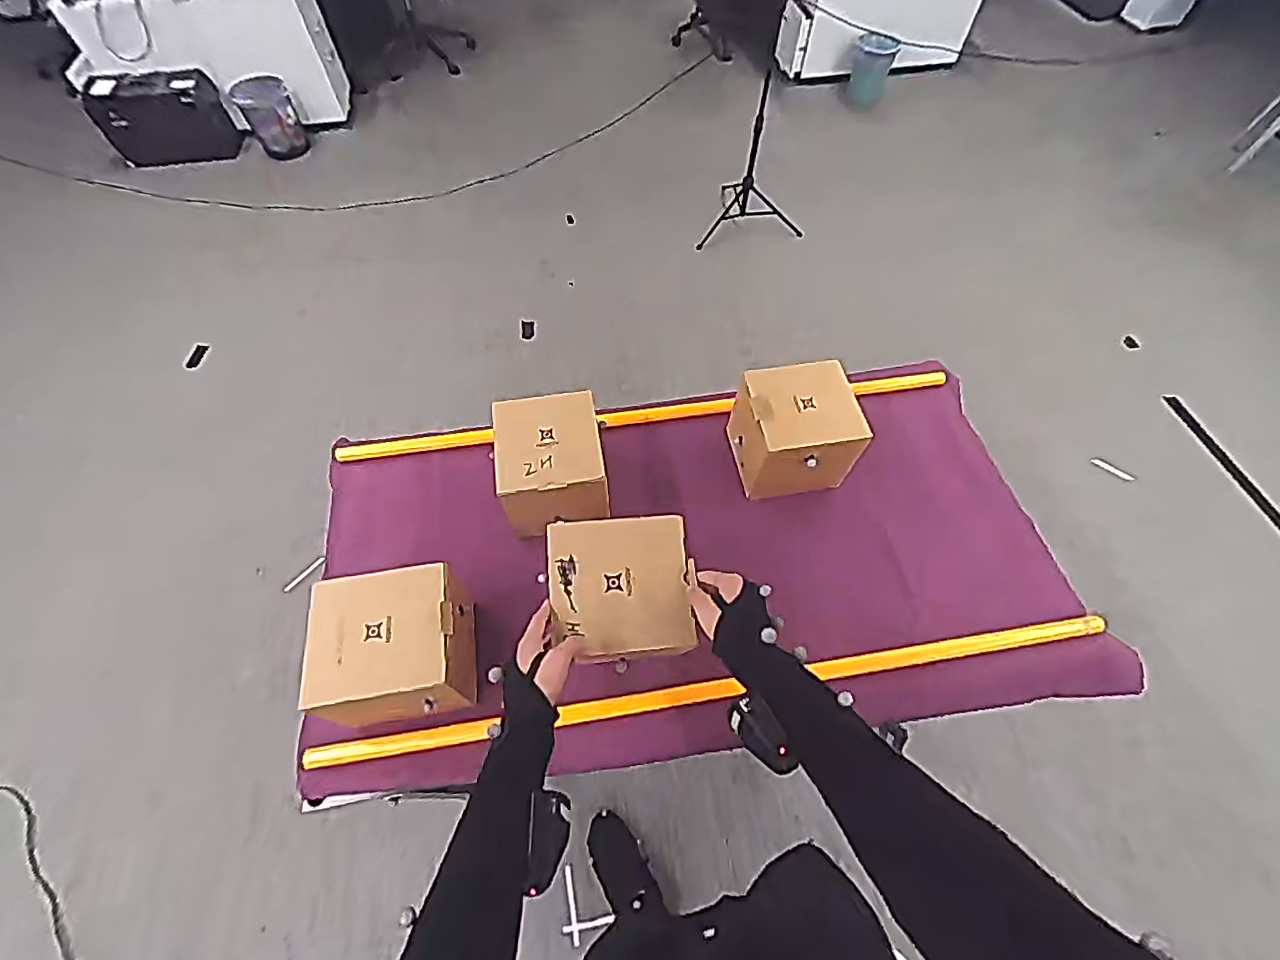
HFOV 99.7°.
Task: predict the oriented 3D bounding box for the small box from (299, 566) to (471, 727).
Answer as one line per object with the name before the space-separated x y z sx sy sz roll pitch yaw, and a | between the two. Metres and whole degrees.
small box | -0.340 0.238 0.764 0.179 0.176 0.168 -8 59 -8

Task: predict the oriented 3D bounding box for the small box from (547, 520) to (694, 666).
small box | -0.034 0.159 0.740 0.179 0.176 0.168 -3 68 -6

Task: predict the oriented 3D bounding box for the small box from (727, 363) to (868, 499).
small box | 0.267 -0.083 0.961 0.179 0.176 0.168 -9 61 -5

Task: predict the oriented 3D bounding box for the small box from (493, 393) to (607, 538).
small box | -0.150 -0.021 0.921 0.168 0.176 0.179 -8 61 -5
